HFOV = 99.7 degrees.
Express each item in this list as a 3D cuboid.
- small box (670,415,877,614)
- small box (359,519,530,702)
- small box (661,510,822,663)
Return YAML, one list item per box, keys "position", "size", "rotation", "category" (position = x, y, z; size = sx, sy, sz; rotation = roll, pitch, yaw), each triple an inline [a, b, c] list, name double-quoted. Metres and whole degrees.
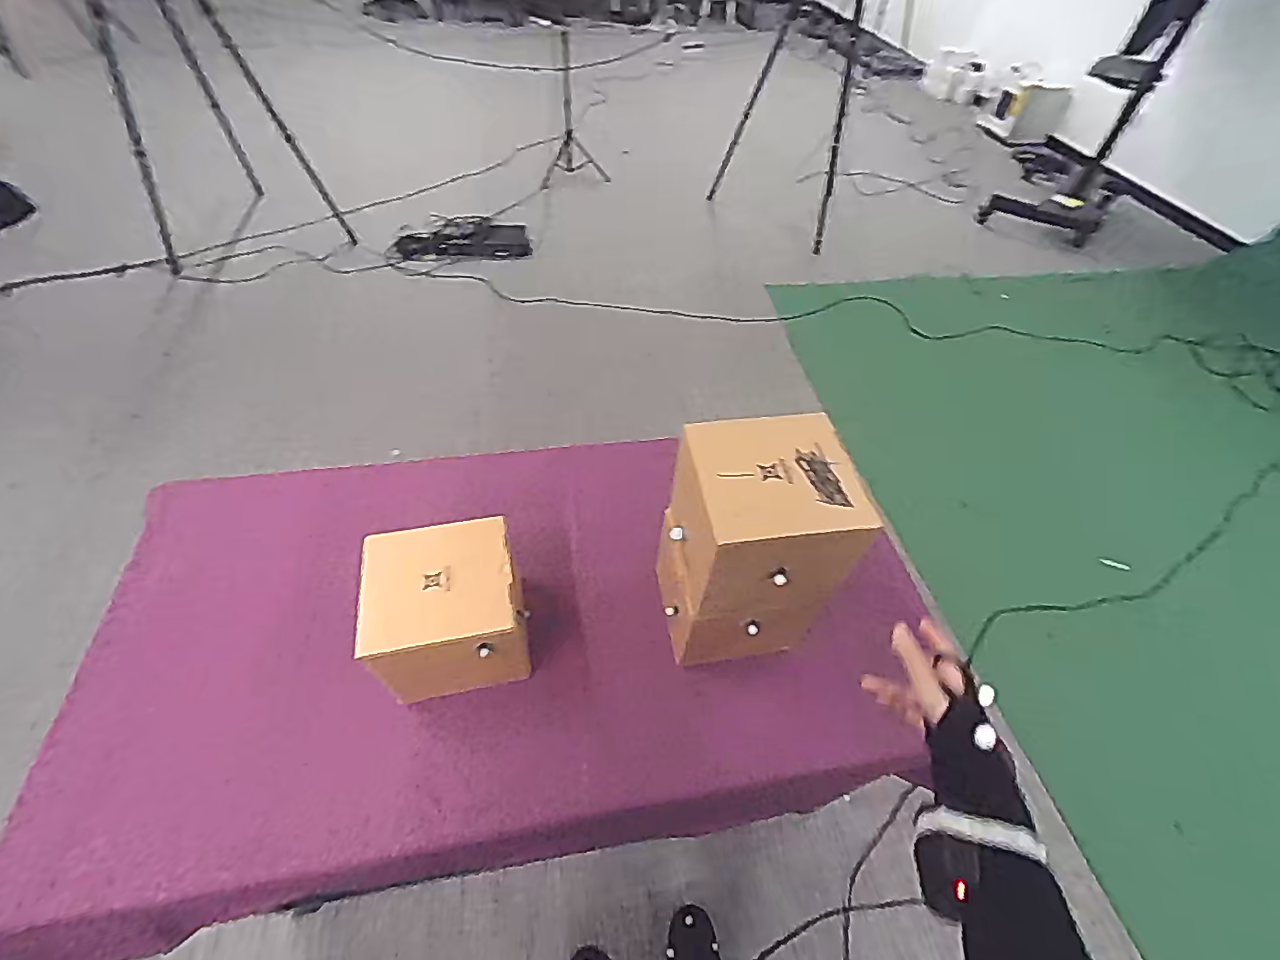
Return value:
- position: [0.141, 0.043, 0.646]
  size: [0.179, 0.176, 0.168]
  rotation: [-6, 52, -8]
  category: "small box"
- position: [-0.251, 0.178, 0.724]
  size: [0.179, 0.176, 0.168]
  rotation: [-9, 52, -12]
  category: "small box"
- position: [0.128, 0.147, 0.773]
  size: [0.179, 0.176, 0.168]
  rotation: [-5, 52, -9]
  category: "small box"
